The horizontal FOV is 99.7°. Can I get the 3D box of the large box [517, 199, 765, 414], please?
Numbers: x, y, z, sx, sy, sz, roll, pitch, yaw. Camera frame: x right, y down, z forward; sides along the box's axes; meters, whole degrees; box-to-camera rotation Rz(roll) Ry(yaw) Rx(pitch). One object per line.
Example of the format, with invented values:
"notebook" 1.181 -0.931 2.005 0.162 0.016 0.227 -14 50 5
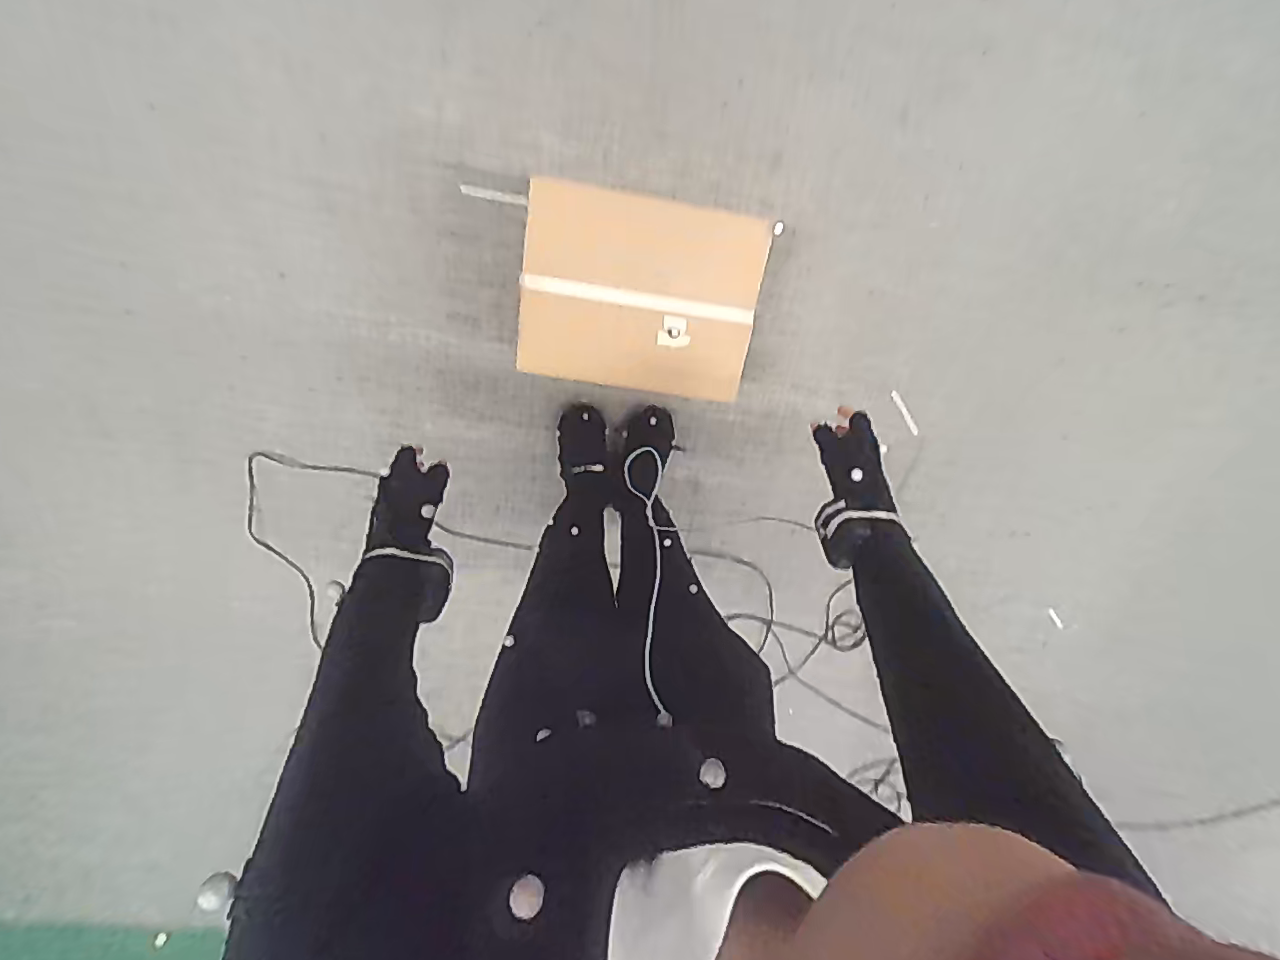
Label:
"large box" -0.017 -0.336 1.081 0.408 0.320 0.320 8 109 -7
